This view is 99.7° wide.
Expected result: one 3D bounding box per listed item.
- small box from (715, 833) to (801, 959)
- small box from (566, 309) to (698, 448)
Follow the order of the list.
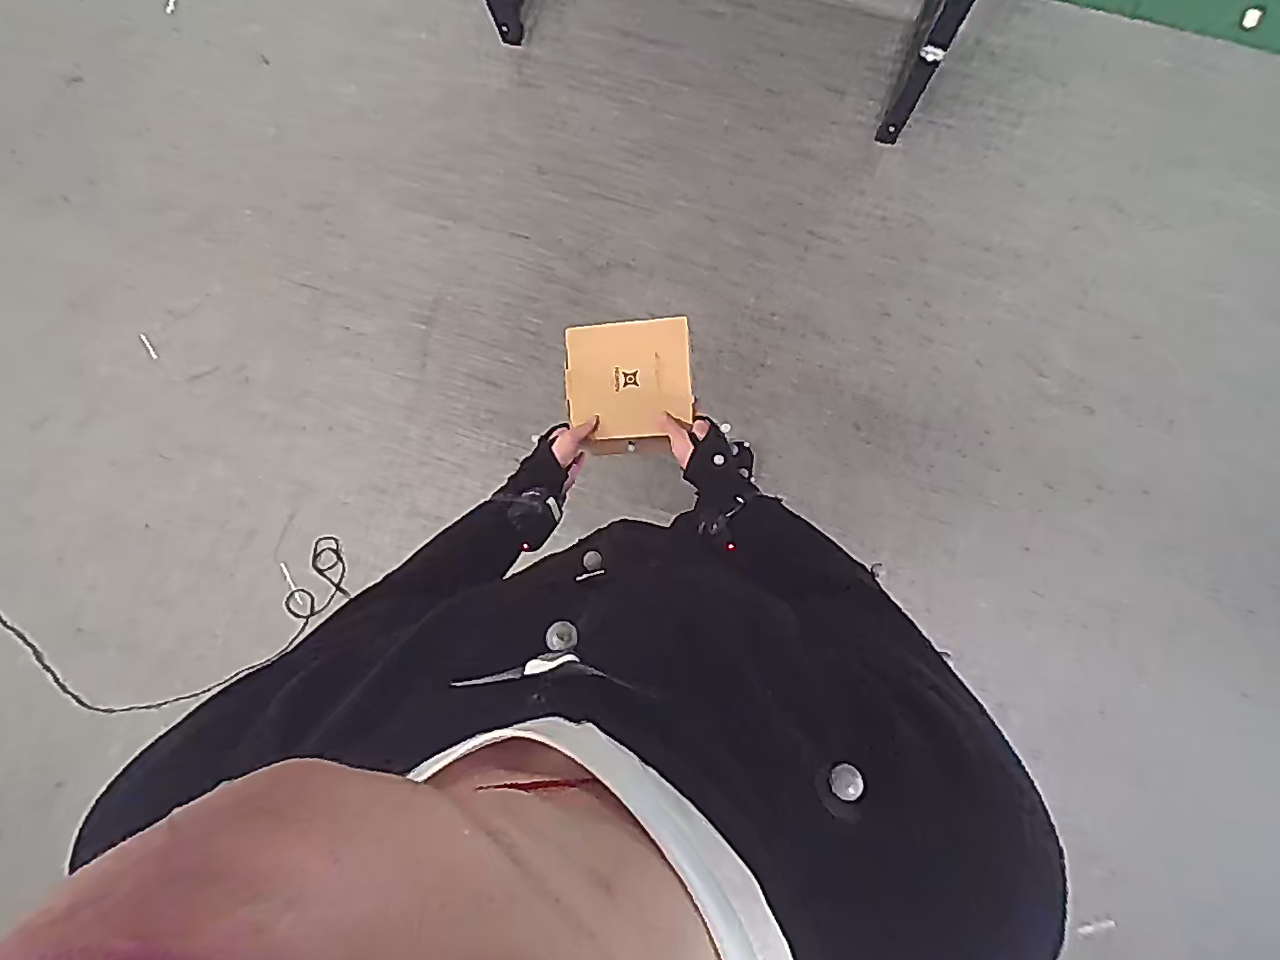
[{"bbox_3d":[0.302,1.087,1.420,0.168,0.176,0.179,21,92,5],"label":"small box"},{"bbox_3d":[-0.005,-0.145,0.827,0.179,0.176,0.168,-4,86,6],"label":"small box"}]
